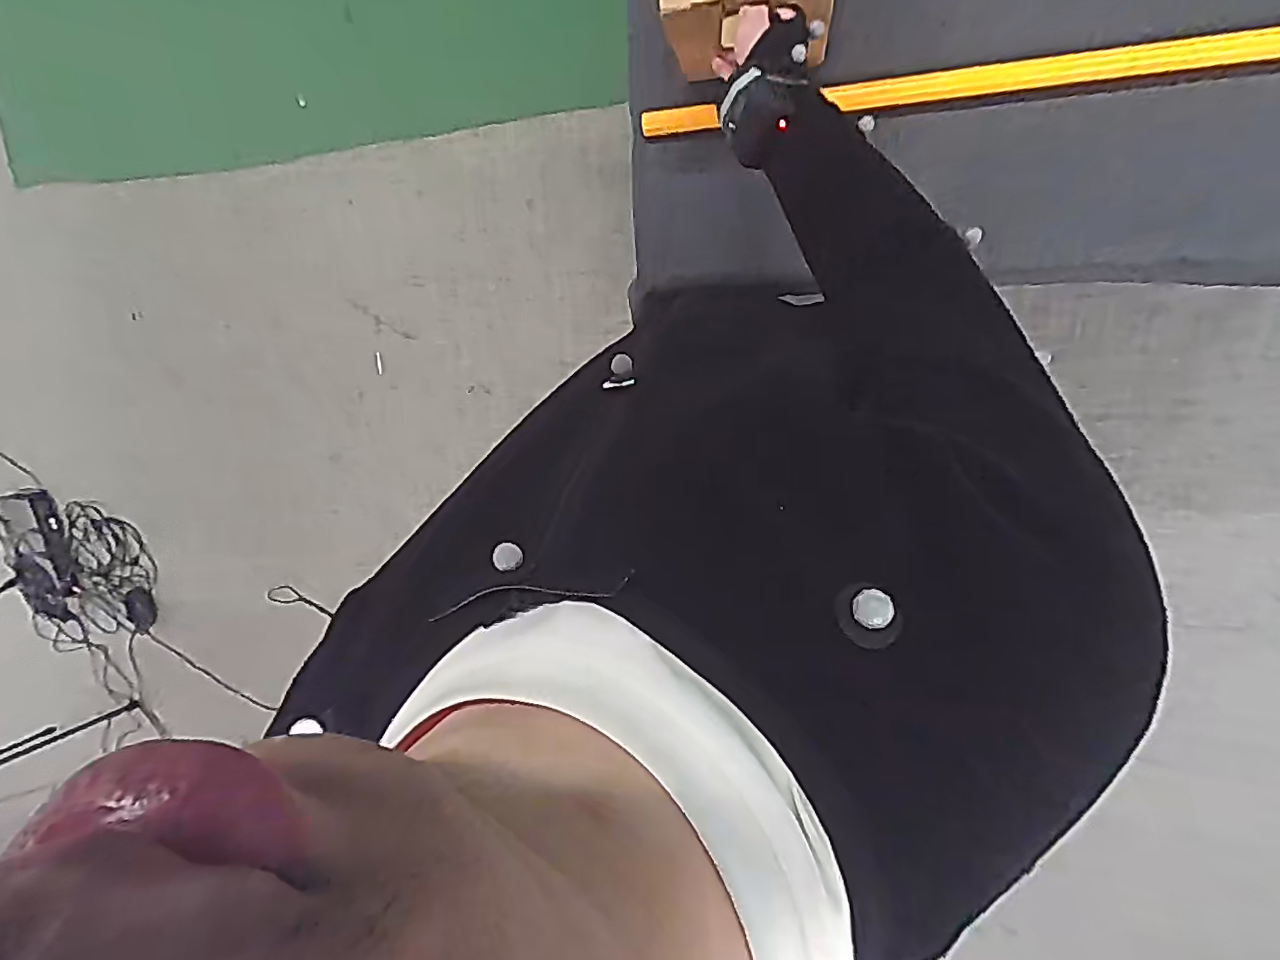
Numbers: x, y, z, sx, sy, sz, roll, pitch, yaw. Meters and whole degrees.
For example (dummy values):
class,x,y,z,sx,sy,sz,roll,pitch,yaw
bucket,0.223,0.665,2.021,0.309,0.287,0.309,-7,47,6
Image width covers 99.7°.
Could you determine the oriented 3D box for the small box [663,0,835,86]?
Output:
class,x,y,z,sx,sy,sz,roll,pitch,yaw
small box,0.119,-0.550,0.568,0.168,0.176,0.179,0,105,17
